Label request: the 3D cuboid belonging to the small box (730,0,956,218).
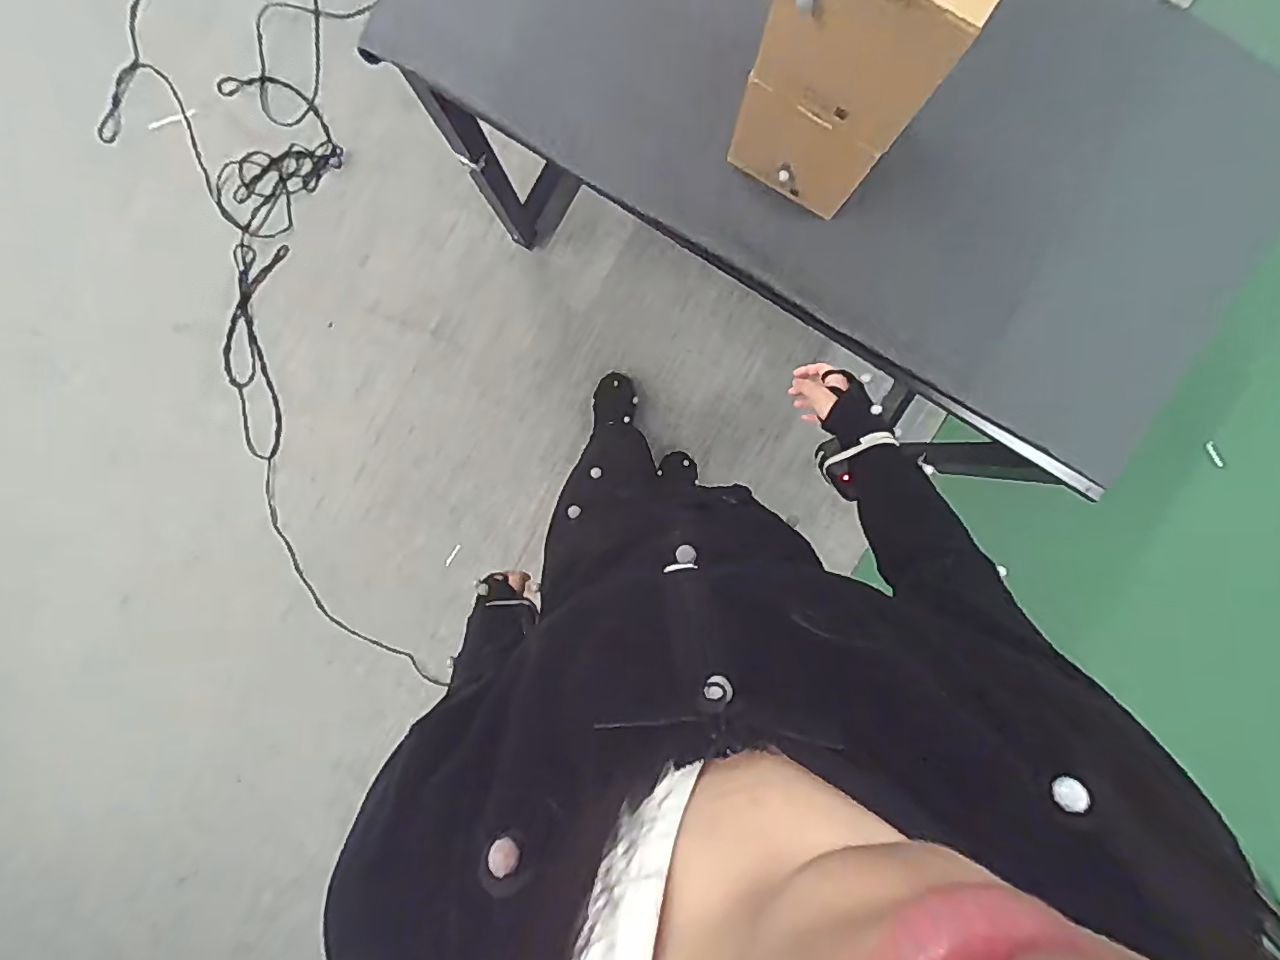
[{"bbox_3d":[0.226,-0.464,0.657,0.168,0.176,0.179,30,93,-1],"label":"small box"}]
